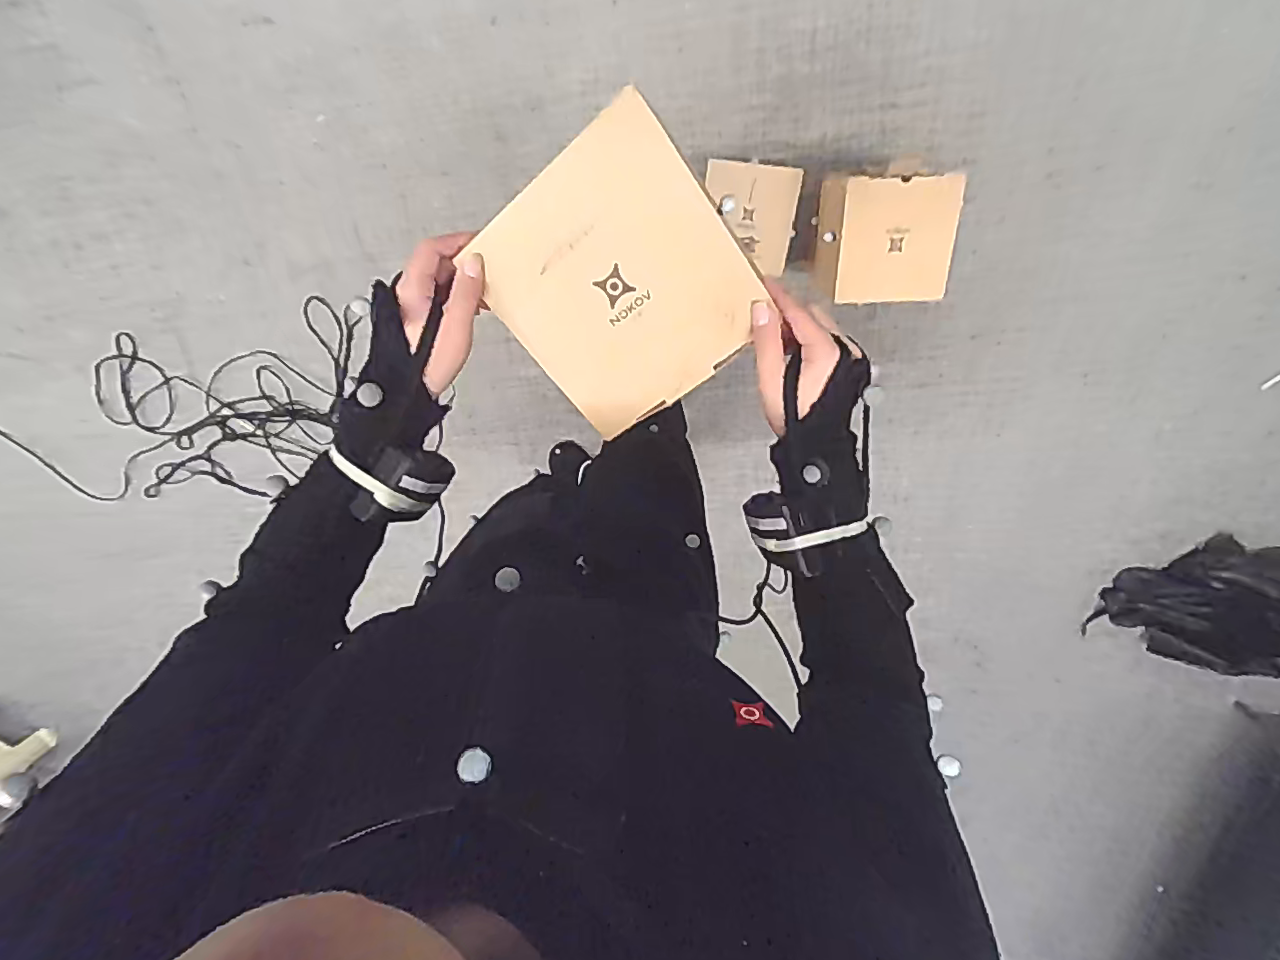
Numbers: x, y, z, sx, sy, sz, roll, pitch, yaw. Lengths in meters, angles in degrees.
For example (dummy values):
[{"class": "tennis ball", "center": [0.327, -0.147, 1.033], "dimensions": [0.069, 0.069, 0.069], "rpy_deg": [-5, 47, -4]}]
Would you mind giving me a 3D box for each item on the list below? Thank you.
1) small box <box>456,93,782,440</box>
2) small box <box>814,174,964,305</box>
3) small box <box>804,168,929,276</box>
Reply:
[{"class": "small box", "center": [-0.006, -0.171, 0.444], "dimensions": [0.168, 0.176, 0.179], "rpy_deg": [-34, 111, 22]}, {"class": "small box", "center": [0.386, -0.389, 0.875], "dimensions": [0.168, 0.176, 0.179], "rpy_deg": [0, 116, 6]}, {"class": "small box", "center": [0.411, -0.474, 1.014], "dimensions": [0.168, 0.176, 0.179], "rpy_deg": [0, 116, 5]}]
